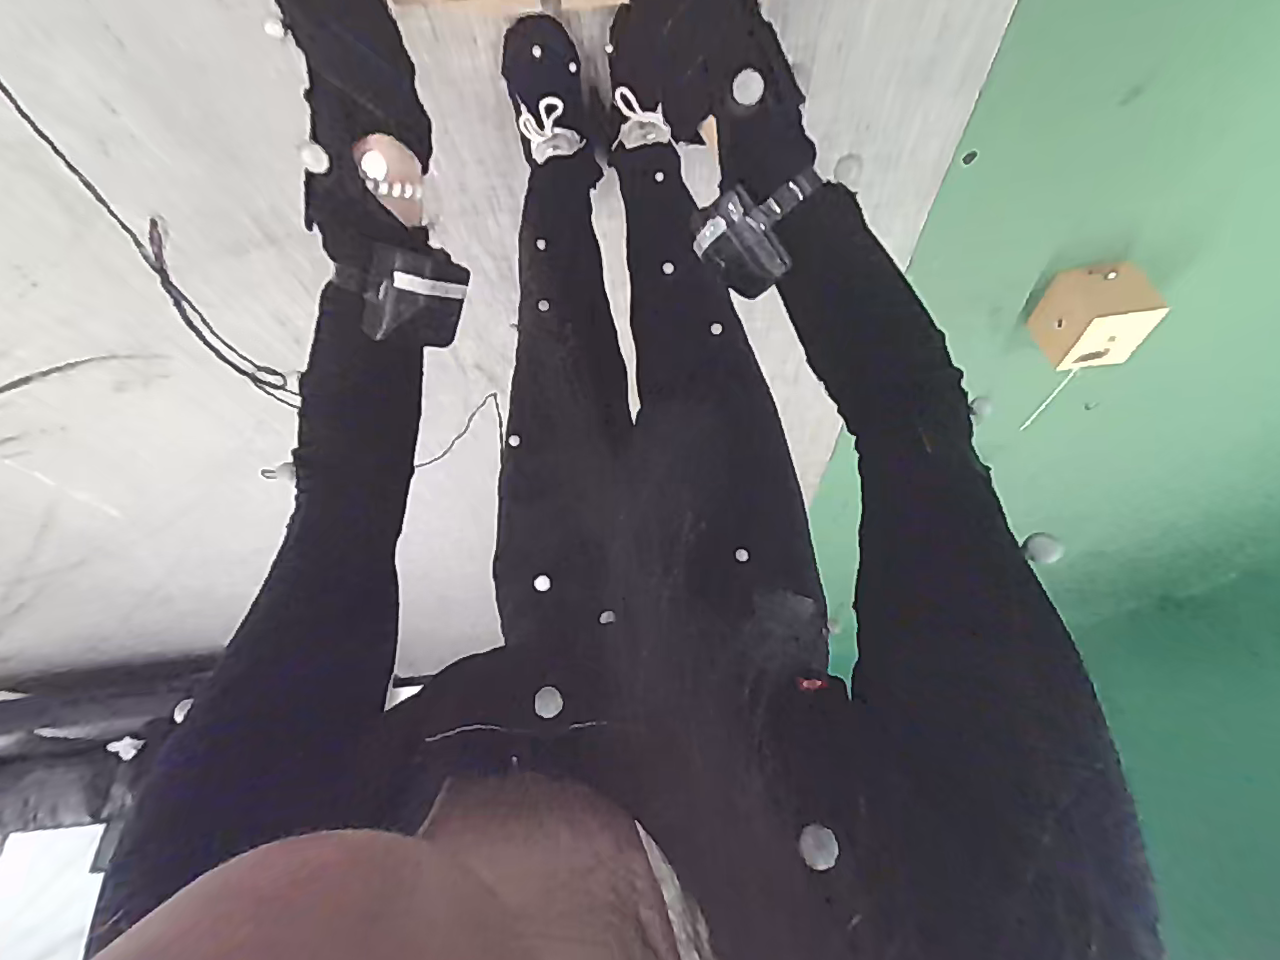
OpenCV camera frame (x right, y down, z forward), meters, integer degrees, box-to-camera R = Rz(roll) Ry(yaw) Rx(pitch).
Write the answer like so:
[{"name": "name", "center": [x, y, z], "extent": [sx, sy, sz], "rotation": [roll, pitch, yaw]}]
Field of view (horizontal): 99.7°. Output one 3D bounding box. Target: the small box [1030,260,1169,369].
[{"name": "small box", "center": [1.088, -0.397, 1.303], "extent": [0.168, 0.176, 0.179], "rotation": [-8, 148, 4]}]
